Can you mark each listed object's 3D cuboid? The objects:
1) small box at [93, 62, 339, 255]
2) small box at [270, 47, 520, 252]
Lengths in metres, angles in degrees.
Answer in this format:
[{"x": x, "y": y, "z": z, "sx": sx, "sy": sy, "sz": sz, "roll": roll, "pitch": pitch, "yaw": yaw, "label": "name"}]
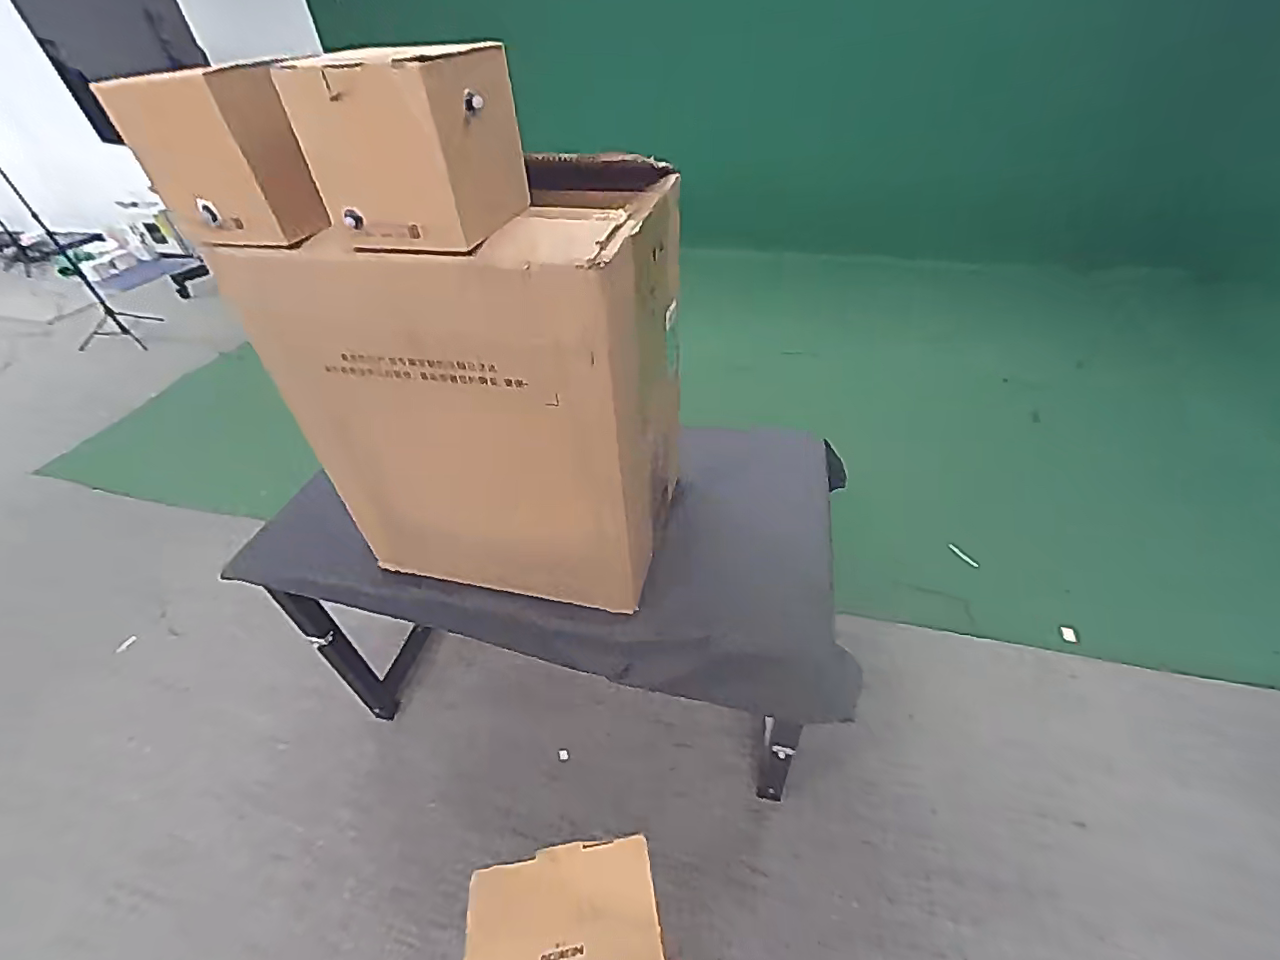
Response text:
[{"x": -0.475, "y": -0.393, "z": 0.664, "sx": 0.168, "sy": 0.176, "sz": 0.179, "roll": 6, "pitch": 44, "yaw": 16, "label": "small box"}, {"x": -0.251, "y": -0.369, "z": 0.610, "sx": 0.168, "sy": 0.176, "sz": 0.179, "roll": 7, "pitch": 42, "yaw": 12, "label": "small box"}]
